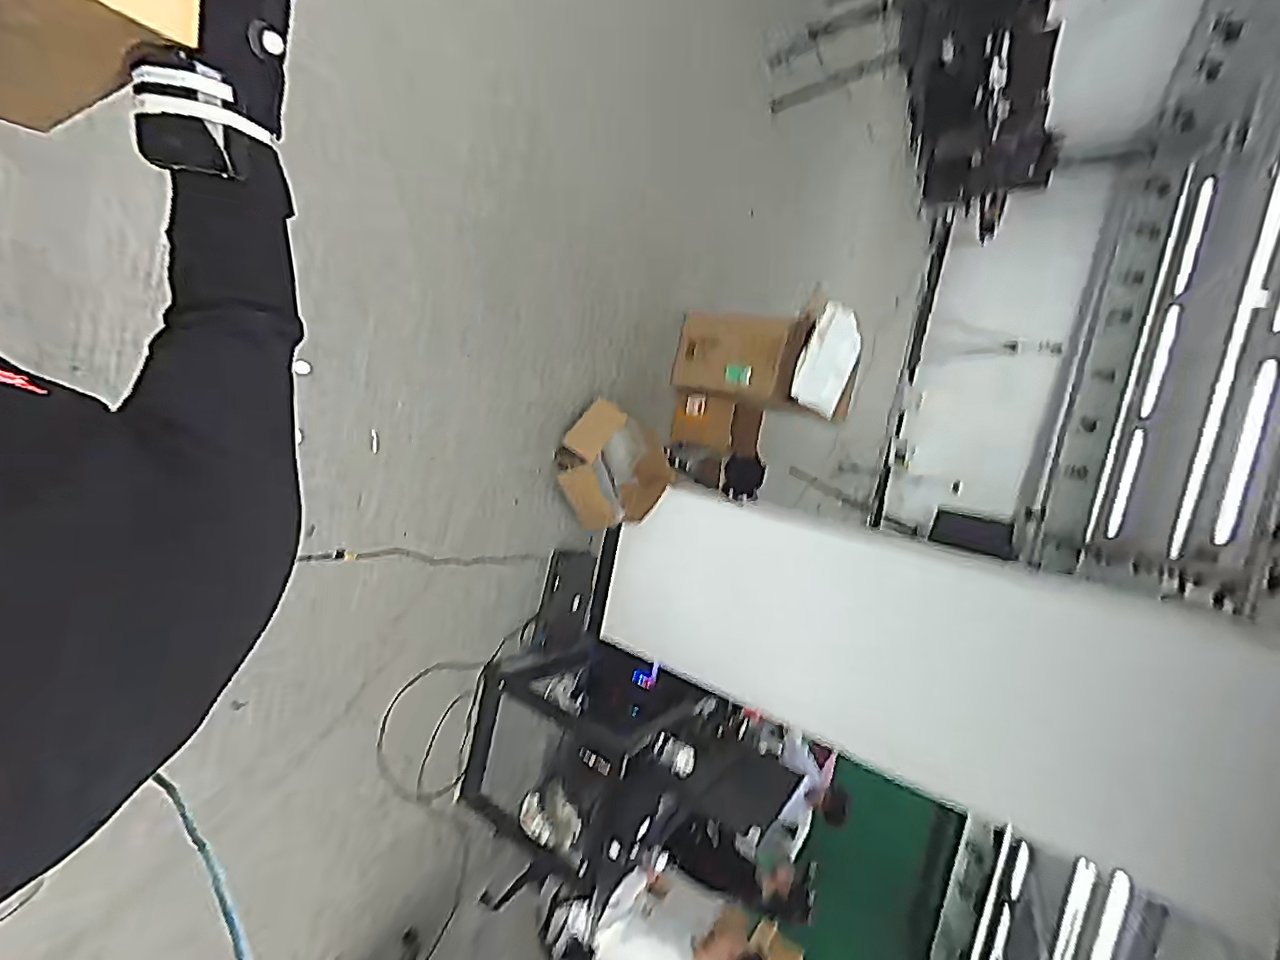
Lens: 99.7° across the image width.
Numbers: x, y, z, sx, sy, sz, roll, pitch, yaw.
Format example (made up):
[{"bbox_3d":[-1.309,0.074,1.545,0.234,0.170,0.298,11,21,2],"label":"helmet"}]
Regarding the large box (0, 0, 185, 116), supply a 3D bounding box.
[{"bbox_3d":[-0.516,-0.442,0.233,0.408,0.320,0.320,-9,106,-60],"label":"large box"}]
